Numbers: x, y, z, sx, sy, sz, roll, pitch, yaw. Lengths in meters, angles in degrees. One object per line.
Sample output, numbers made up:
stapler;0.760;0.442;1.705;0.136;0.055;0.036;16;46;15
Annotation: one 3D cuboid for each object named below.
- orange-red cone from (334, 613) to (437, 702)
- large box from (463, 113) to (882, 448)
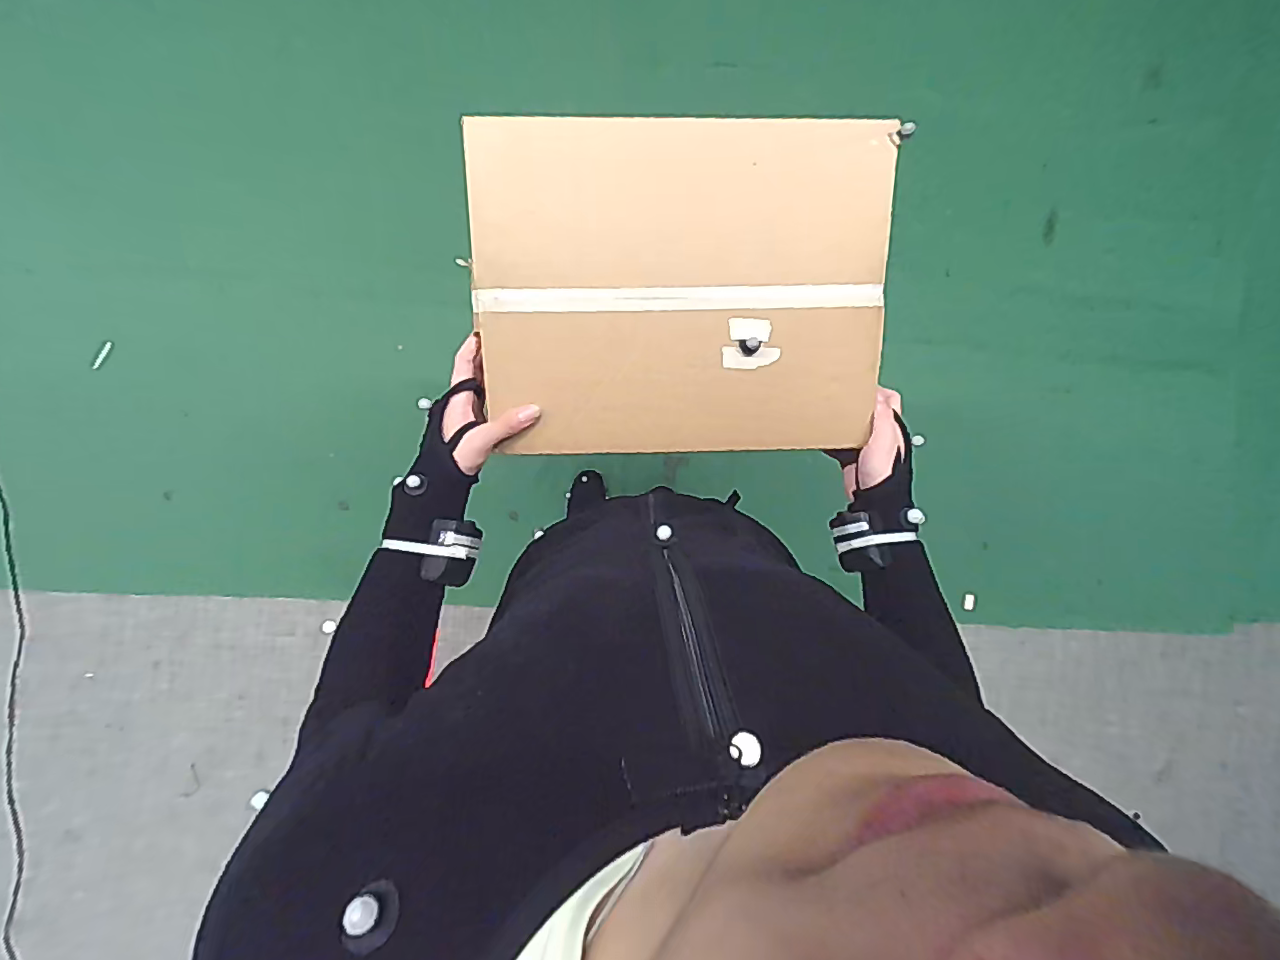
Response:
orange-red cone;-0.703;0.500;1.425;0.199;0.360;0.198;10;89;-2
large box;0.028;-0.228;0.685;0.408;0.320;0.320;-2;105;-3
